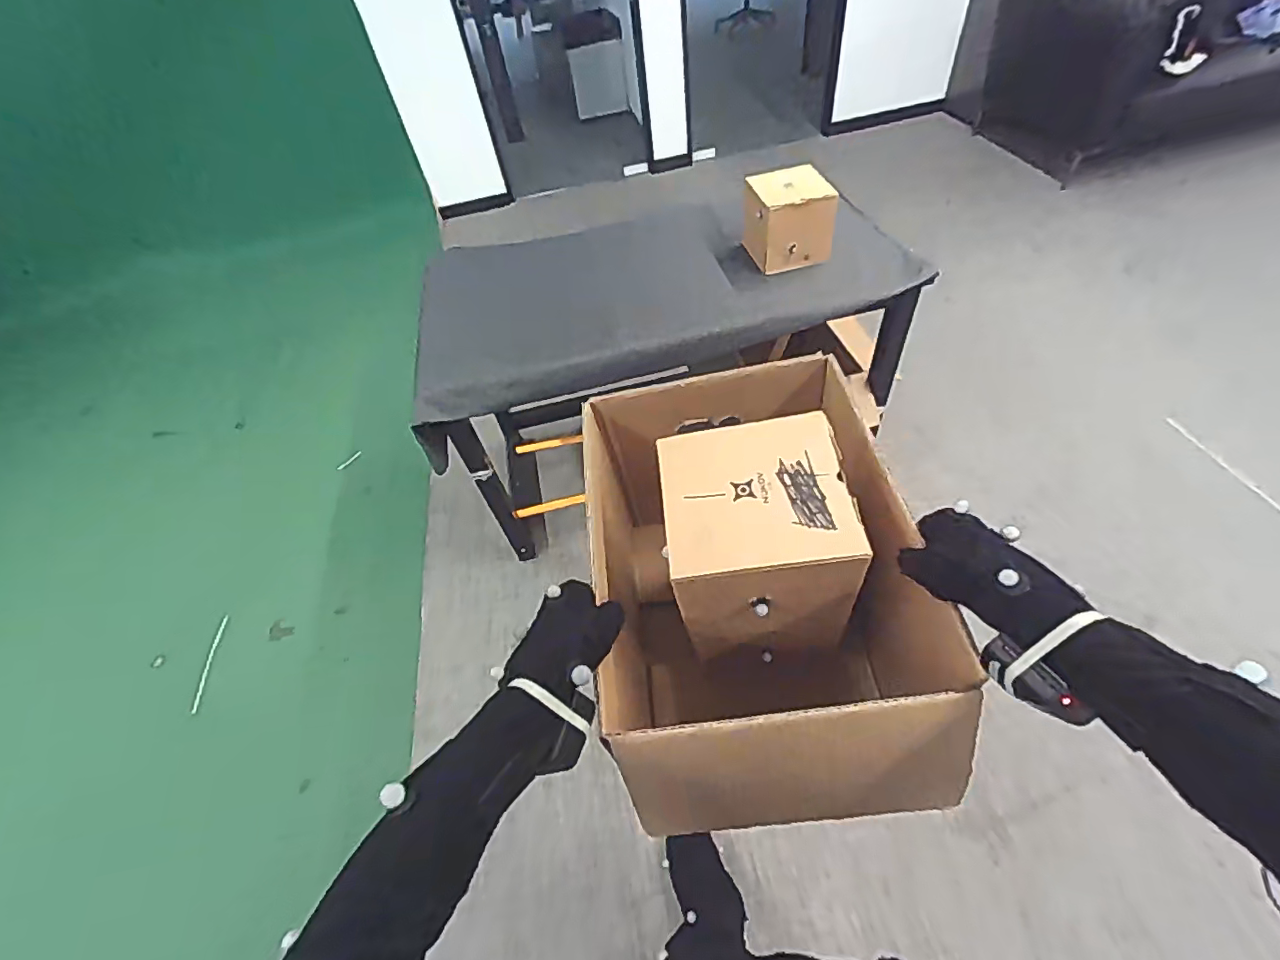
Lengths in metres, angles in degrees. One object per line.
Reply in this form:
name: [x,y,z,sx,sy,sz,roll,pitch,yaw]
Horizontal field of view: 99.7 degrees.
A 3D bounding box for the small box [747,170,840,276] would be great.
small box: [0.365,-0.627,1.325,0.168,0.176,0.179,-13,50,-2]
